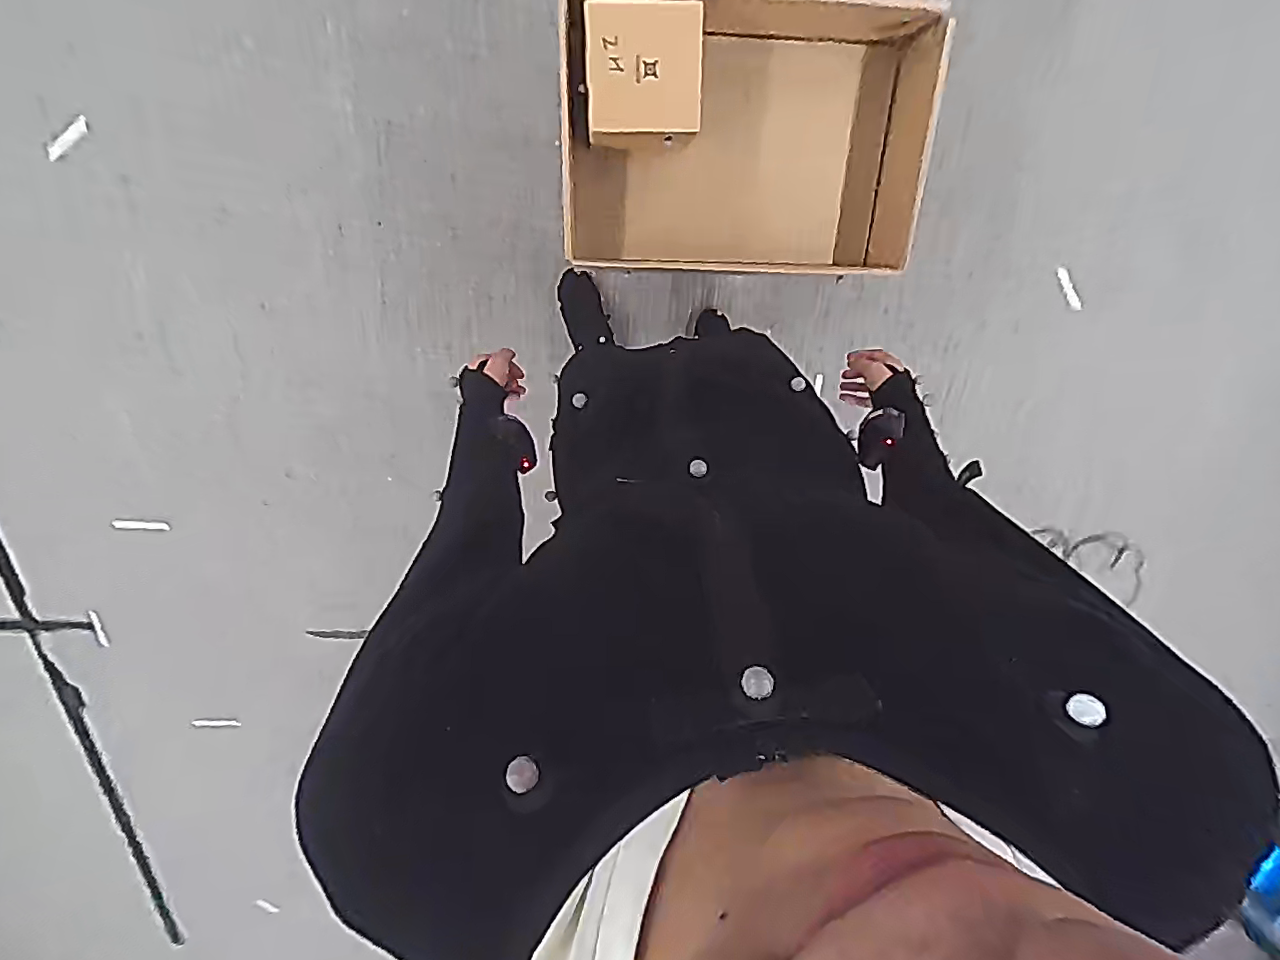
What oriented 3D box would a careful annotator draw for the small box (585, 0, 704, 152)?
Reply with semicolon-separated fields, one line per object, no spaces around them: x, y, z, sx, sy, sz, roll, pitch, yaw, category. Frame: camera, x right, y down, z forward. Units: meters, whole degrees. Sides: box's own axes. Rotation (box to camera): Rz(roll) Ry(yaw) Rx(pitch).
0.000;-0.646;0.883;0.179;0.176;0.168;-2;113;-4;small box
